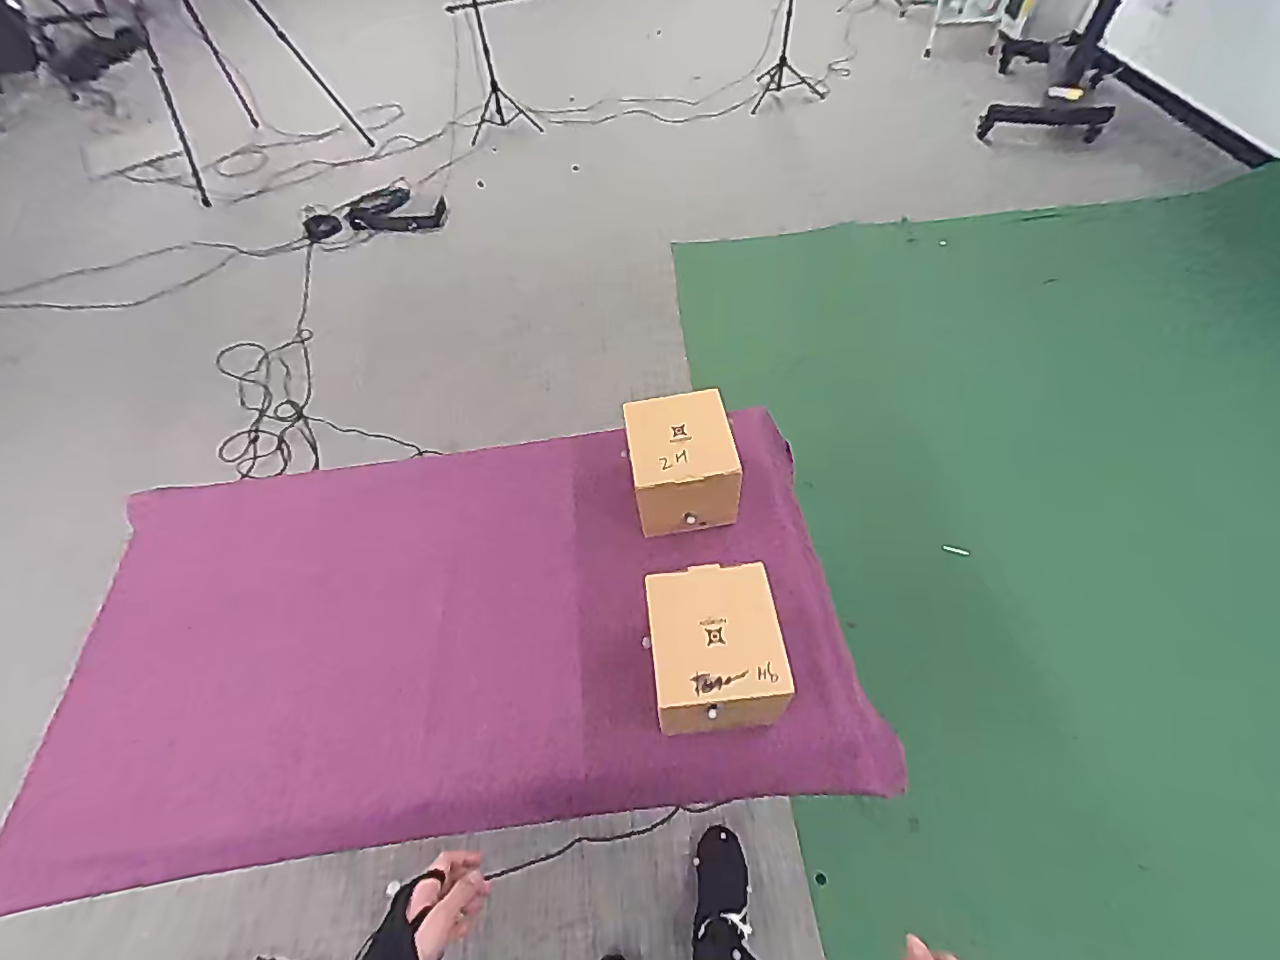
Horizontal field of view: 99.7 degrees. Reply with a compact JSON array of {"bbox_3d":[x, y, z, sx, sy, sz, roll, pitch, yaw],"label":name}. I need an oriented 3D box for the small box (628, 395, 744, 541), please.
[{"bbox_3d":[0.074,-0.017,0.929,0.168,0.176,0.179,-9,56,0],"label":"small box"}]

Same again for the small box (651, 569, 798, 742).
[{"bbox_3d":[0.104,0.245,0.749,0.168,0.176,0.179,-6,53,0],"label":"small box"}]
